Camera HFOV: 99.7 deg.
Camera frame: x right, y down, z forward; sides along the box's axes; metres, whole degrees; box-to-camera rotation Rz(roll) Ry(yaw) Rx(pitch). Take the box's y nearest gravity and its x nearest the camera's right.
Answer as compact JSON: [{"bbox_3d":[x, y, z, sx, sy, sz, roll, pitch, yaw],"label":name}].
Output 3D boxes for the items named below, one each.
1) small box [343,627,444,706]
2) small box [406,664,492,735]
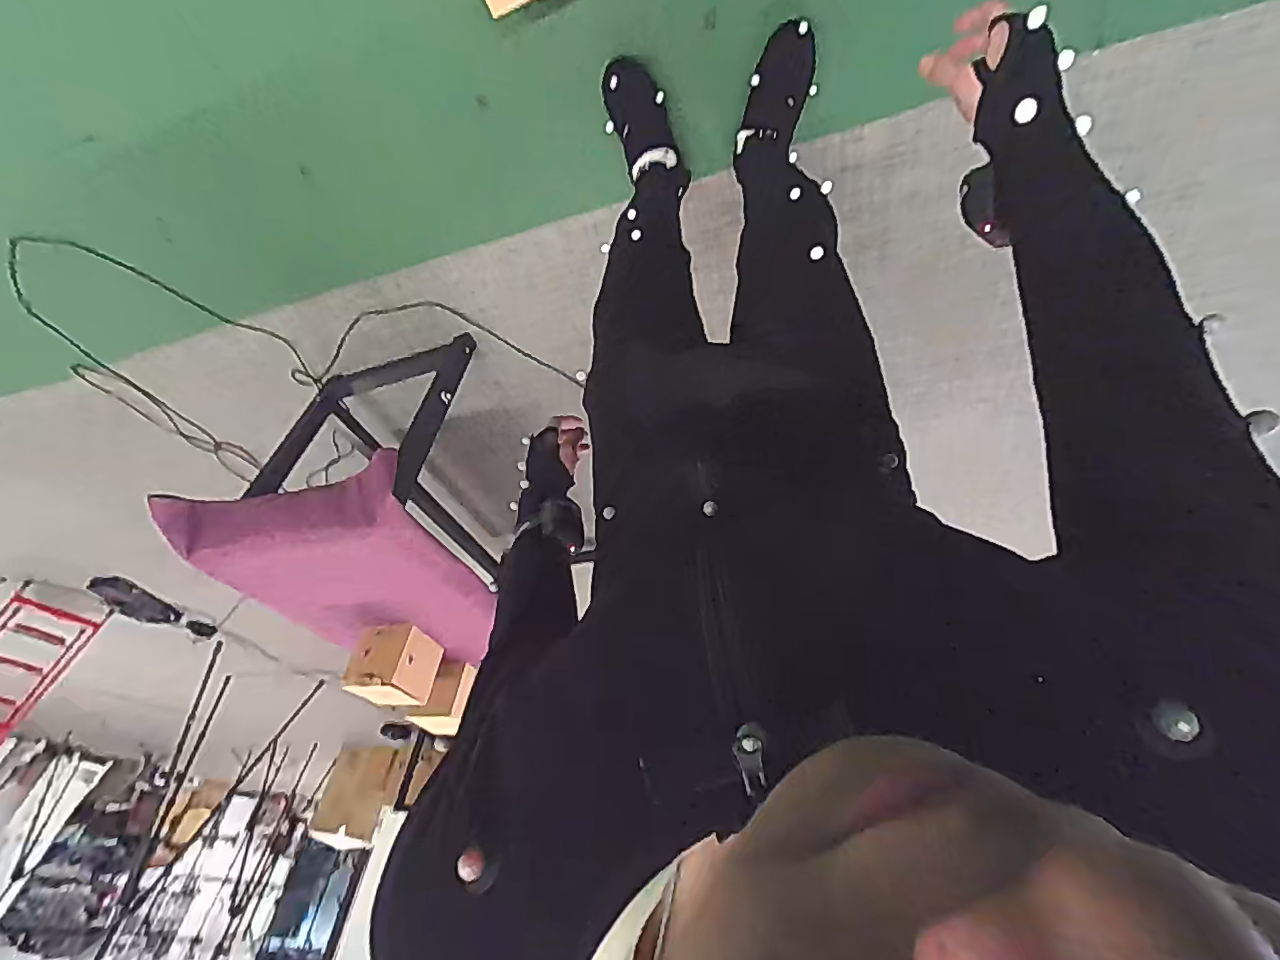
[{"bbox_3d":[-0.690,0.528,1.538,0.168,0.176,0.179,-5,139,15],"label":"small box"},{"bbox_3d":[-0.601,0.700,1.726,0.179,0.176,0.168,-9,138,17],"label":"small box"}]
